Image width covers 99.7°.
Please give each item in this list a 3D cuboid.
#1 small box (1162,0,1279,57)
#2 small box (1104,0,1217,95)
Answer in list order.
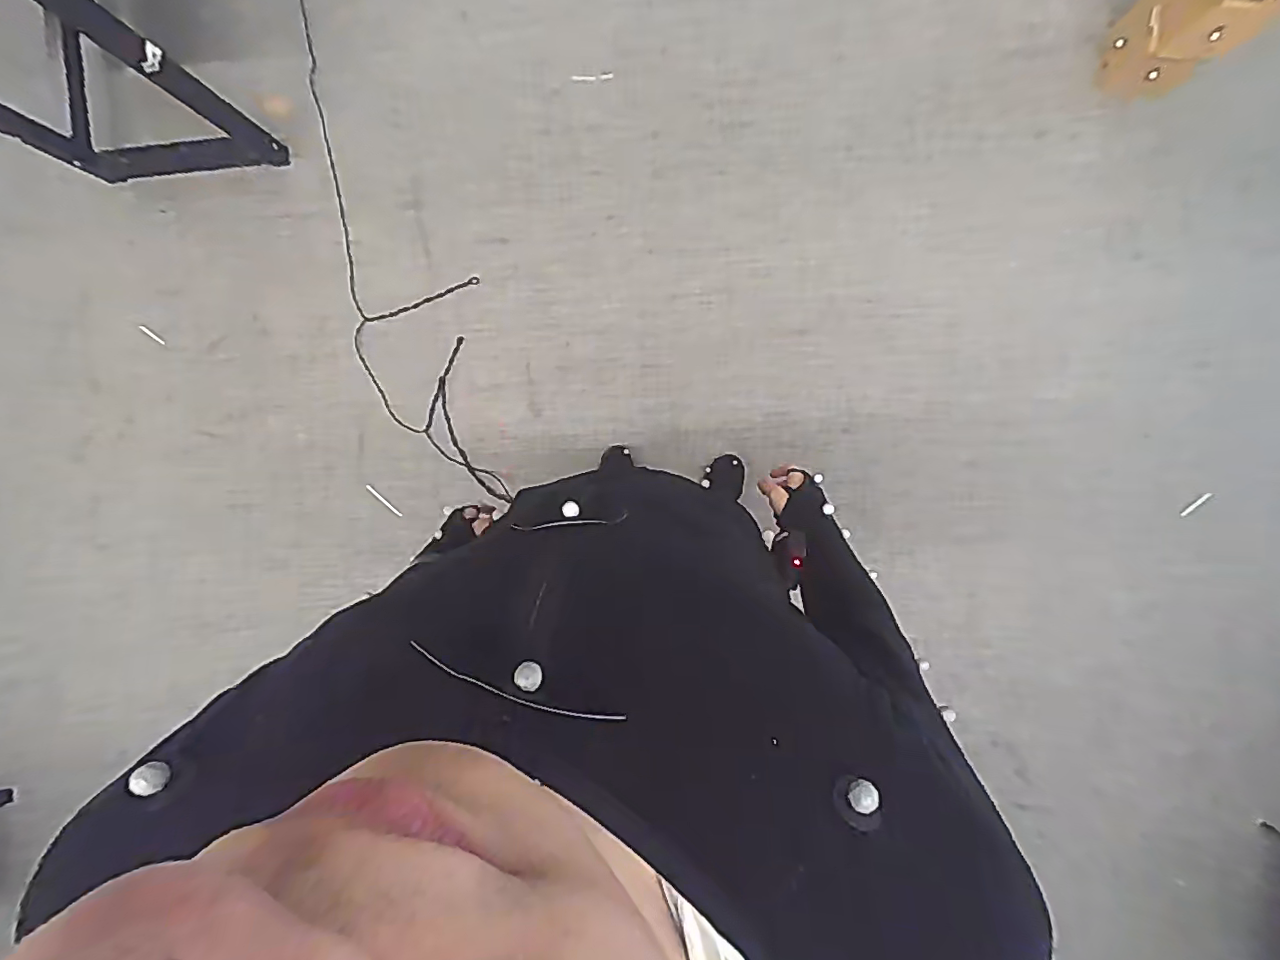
[{"bbox_3d":[1.360,-1.114,1.239,0.168,0.176,0.179,4,94,3],"label":"small box"},{"bbox_3d":[1.361,-1.135,1.401,0.179,0.176,0.168,6,95,4],"label":"small box"}]
